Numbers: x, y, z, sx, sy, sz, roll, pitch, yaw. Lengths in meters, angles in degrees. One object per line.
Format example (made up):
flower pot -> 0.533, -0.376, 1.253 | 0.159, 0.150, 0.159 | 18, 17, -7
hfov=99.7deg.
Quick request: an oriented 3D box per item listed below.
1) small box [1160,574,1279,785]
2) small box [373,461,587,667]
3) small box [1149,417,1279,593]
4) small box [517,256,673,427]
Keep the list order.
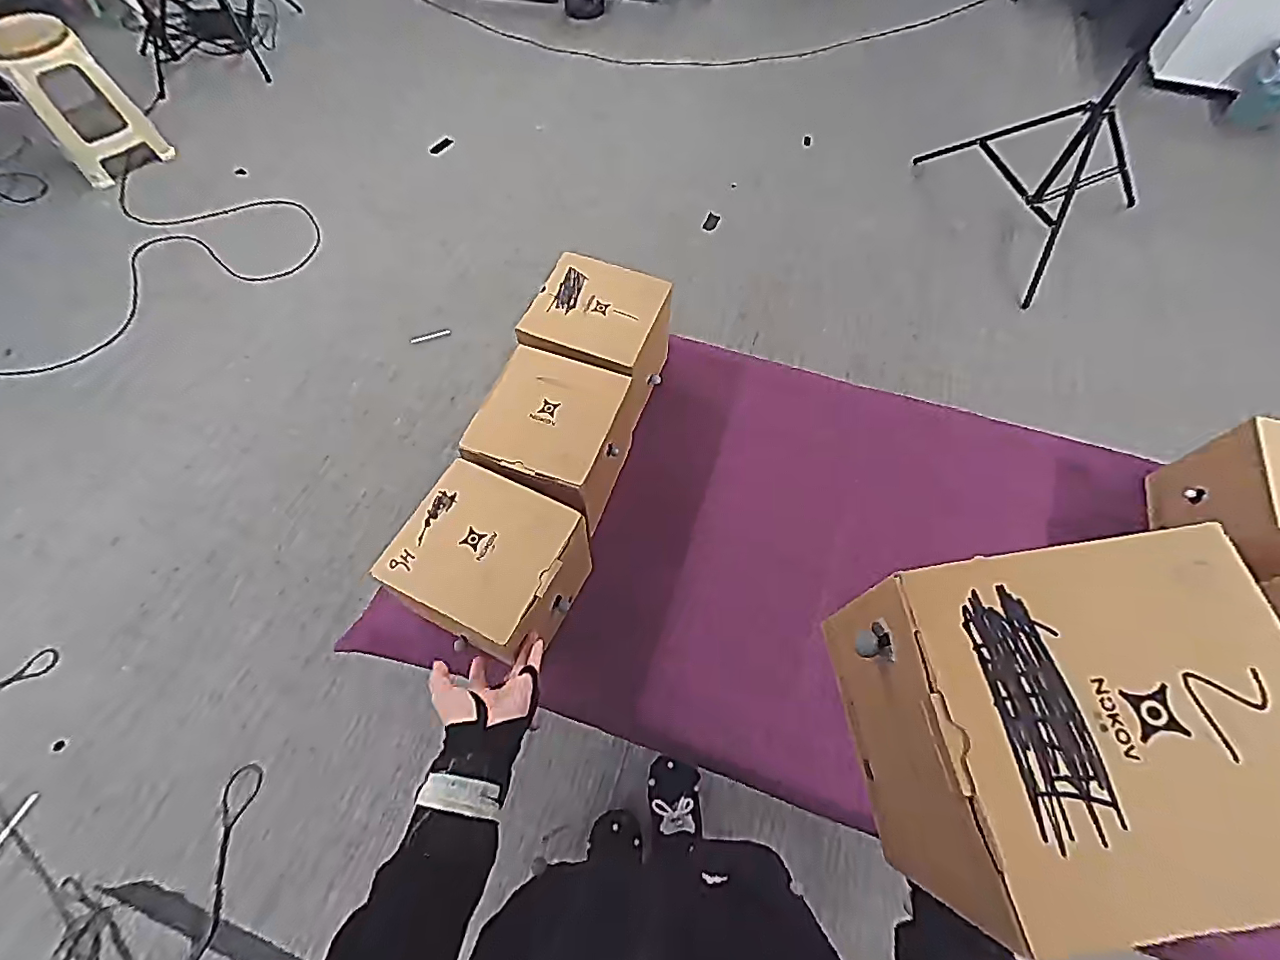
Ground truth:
small box -> 0.741, 0.238, 0.609 | 0.168, 0.176, 0.179 | 21, 63, 11
small box -> -0.176, 0.112, 0.663 | 0.179, 0.176, 0.168 | 25, 63, 10
small box -> 0.815, 0.050, 0.704 | 0.179, 0.176, 0.168 | 19, 64, 8
small box -> -0.062, -0.205, 0.832 | 0.179, 0.176, 0.168 | 20, 65, 8
